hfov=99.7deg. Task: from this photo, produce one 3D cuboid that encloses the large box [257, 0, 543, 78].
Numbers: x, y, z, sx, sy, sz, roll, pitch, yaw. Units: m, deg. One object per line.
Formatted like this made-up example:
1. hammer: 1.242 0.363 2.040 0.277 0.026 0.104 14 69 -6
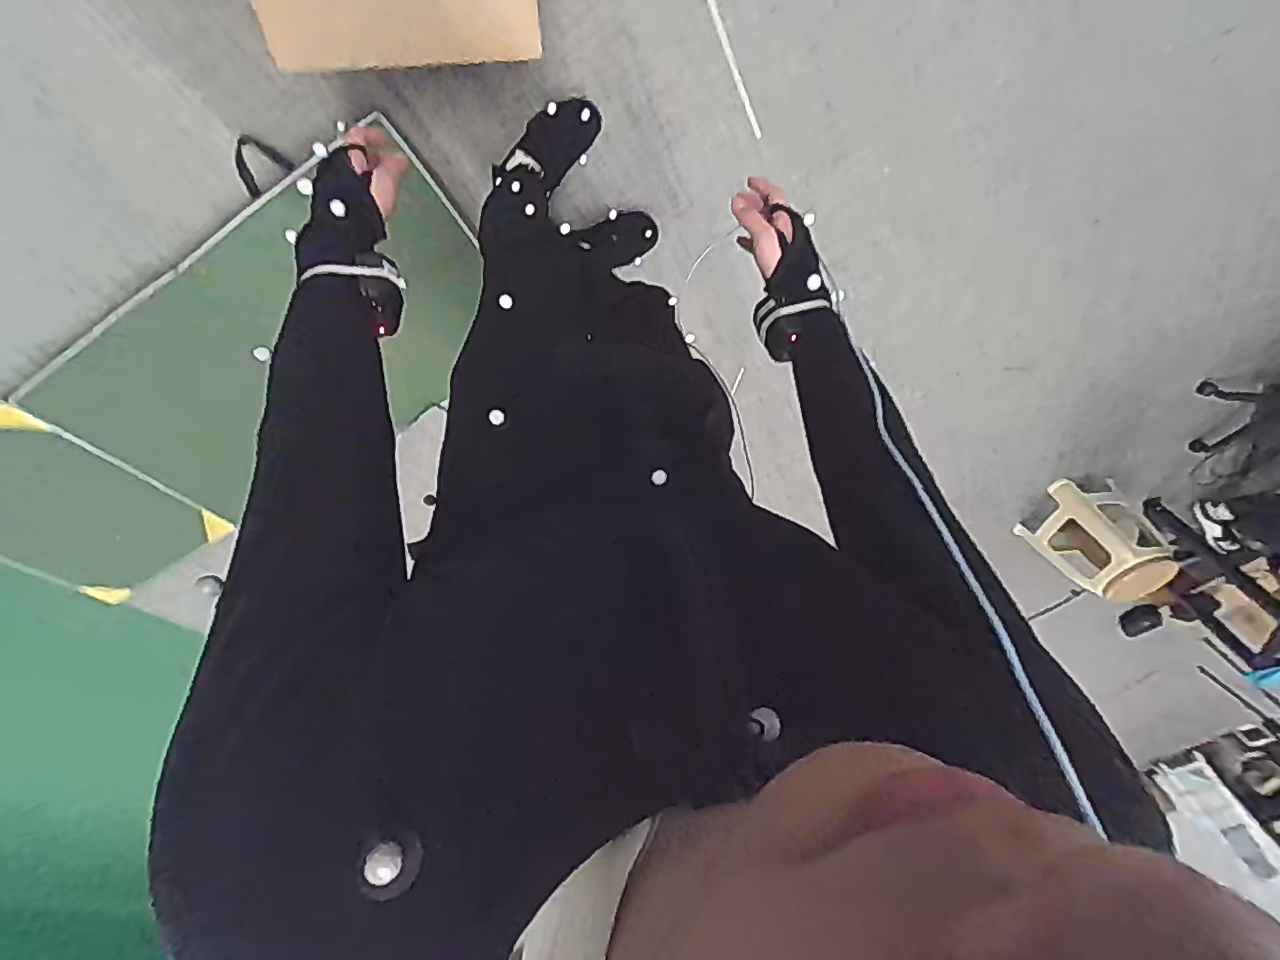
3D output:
1. large box: -0.385 -0.860 0.857 0.408 0.320 0.320 -9 134 -7
